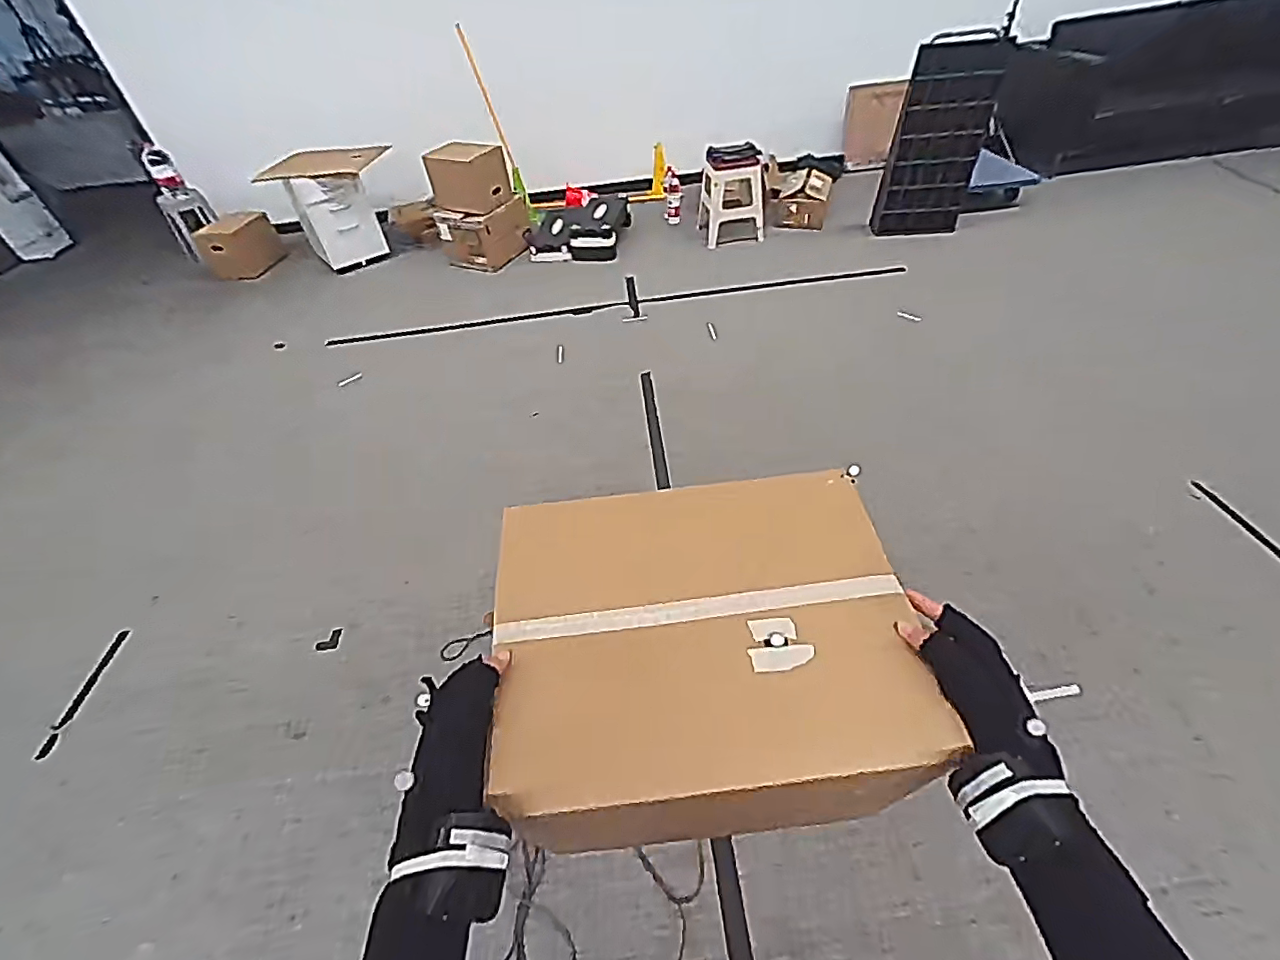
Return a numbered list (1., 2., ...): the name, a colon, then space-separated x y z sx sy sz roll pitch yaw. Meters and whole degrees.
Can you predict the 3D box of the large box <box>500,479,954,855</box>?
1. large box: 0.066 0.235 0.666 0.408 0.320 0.320 -7 51 -1
